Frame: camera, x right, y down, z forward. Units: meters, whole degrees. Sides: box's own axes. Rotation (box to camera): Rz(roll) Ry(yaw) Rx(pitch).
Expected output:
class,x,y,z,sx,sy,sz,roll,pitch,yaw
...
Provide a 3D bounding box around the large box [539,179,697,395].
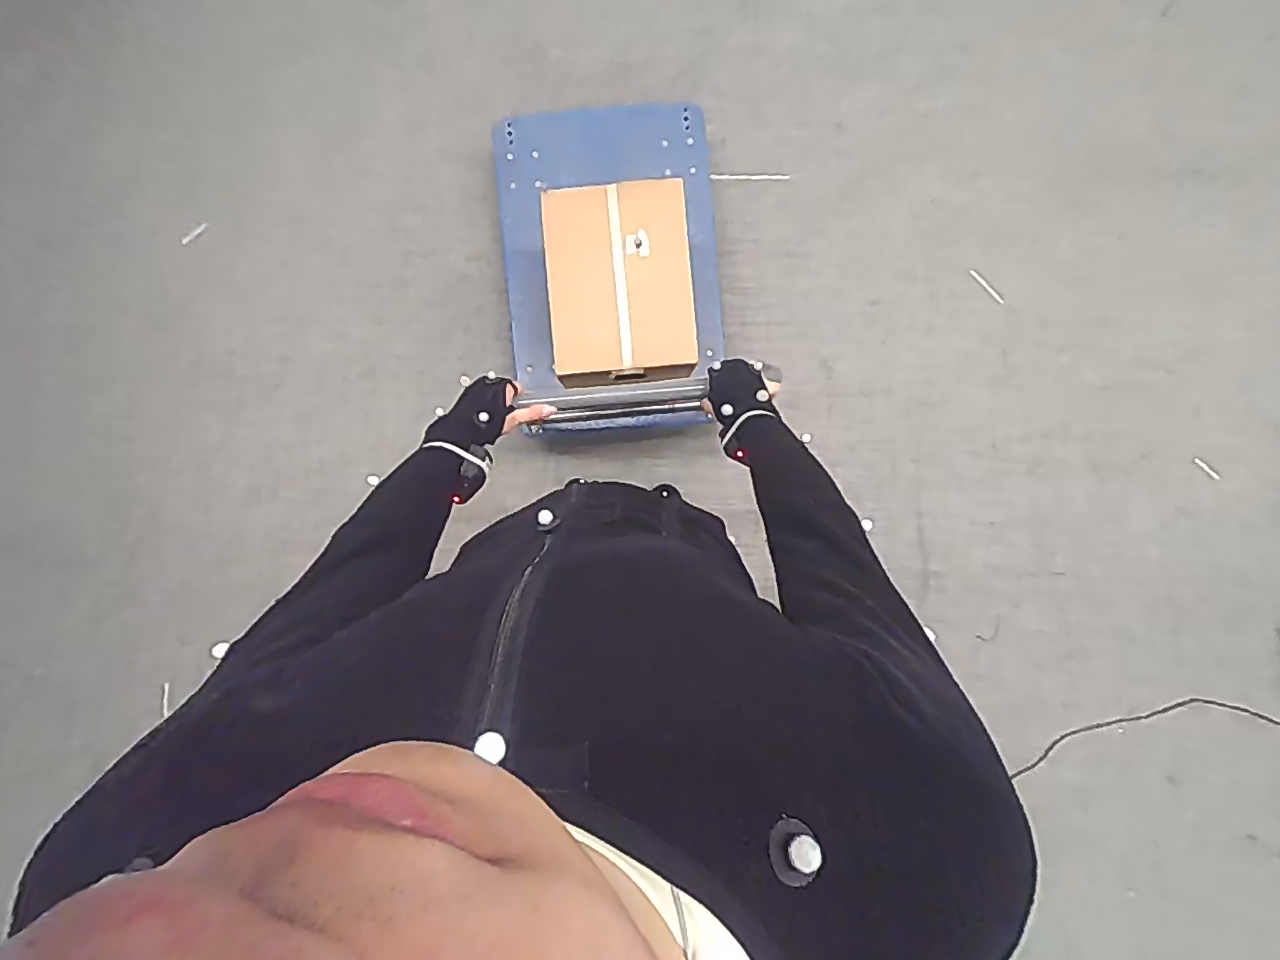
class,x,y,z,sx,sy,sz,roll,pitch,yaw
large box,-0.048,-0.443,1.325,0.320,0.320,0.408,-5,90,-1
